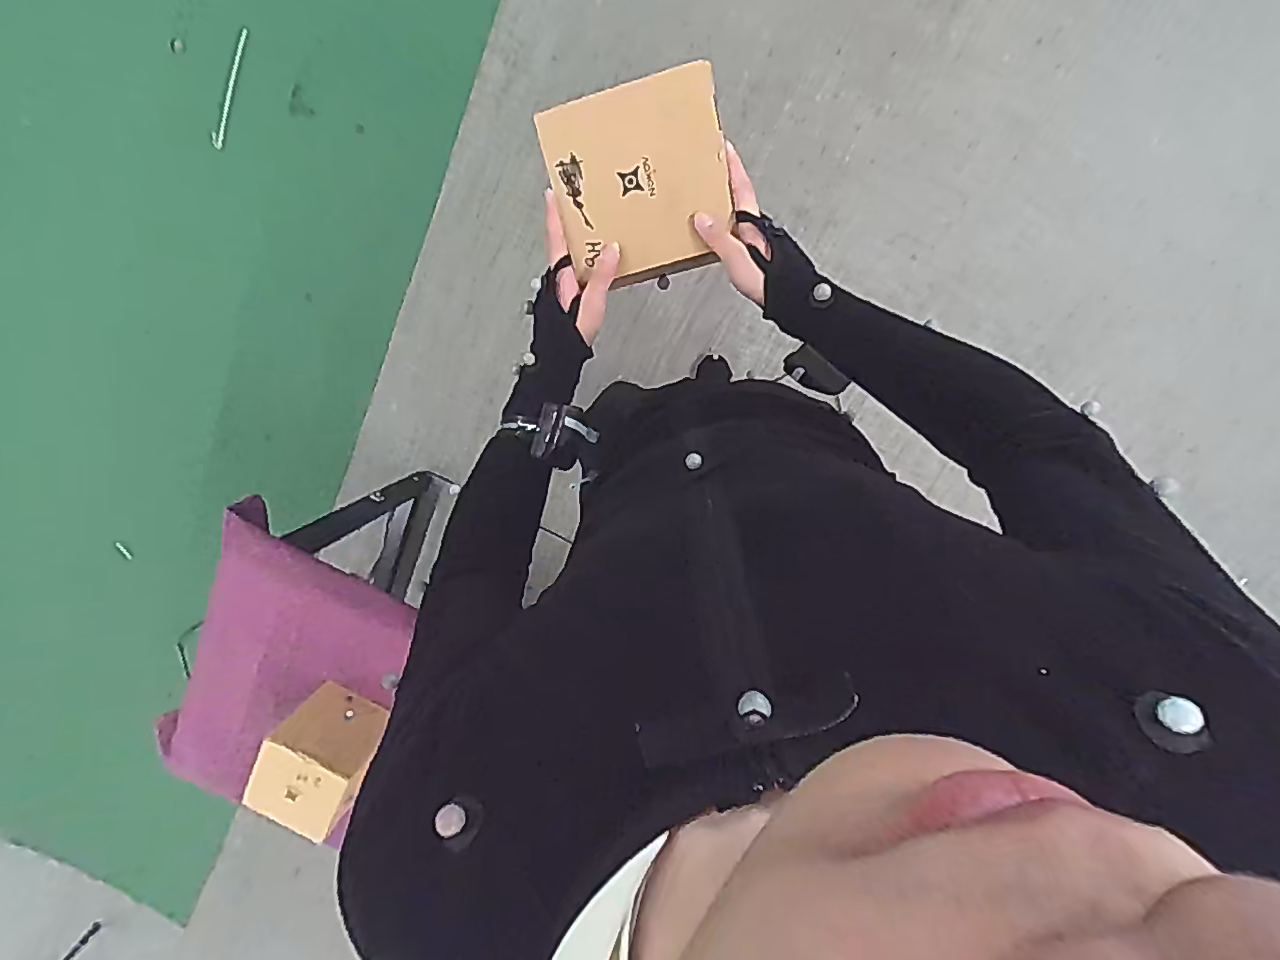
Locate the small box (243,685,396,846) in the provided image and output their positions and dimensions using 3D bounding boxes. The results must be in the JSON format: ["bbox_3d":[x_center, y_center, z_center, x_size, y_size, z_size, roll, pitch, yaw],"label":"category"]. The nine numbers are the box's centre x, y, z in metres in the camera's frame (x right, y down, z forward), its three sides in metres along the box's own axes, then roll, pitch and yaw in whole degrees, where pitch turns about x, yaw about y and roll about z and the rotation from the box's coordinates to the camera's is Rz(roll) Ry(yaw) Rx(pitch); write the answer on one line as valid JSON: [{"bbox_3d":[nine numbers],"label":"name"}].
[{"bbox_3d":[-0.602,0.537,1.035,0.168,0.176,0.179,29,106,-1],"label":"small box"}]

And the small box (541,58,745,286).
[{"bbox_3d":[0.009,-0.322,0.605,0.179,0.176,0.168,-11,106,7],"label":"small box"}]
